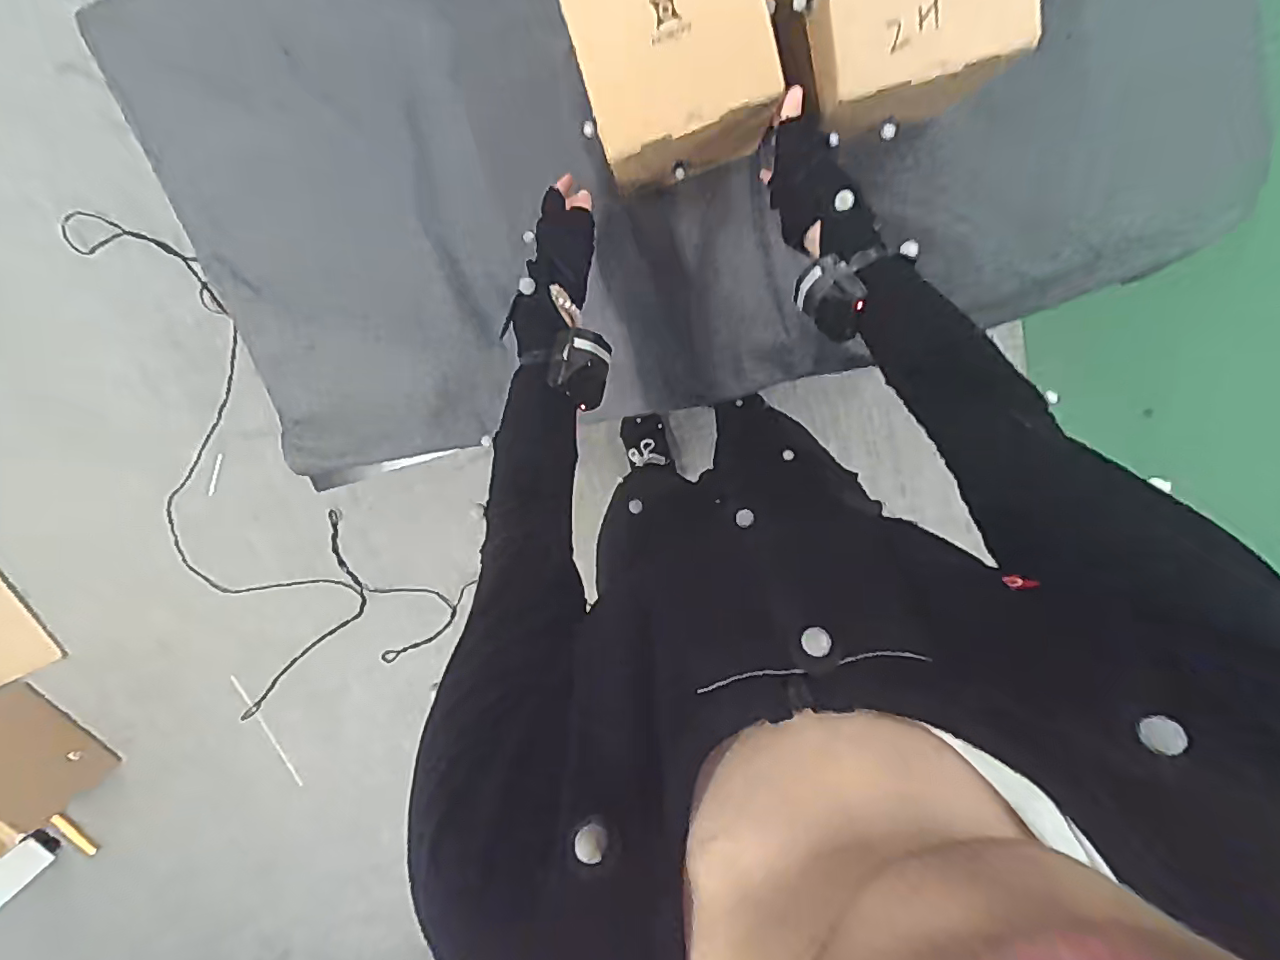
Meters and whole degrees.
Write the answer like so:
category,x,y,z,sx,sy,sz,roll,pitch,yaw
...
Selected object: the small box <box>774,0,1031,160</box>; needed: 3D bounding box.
category,x,y,z,sx,sy,sz,roll,pitch,yaw
small box,0.233,-0.441,0.516,0.168,0.176,0.179,-12,106,7
